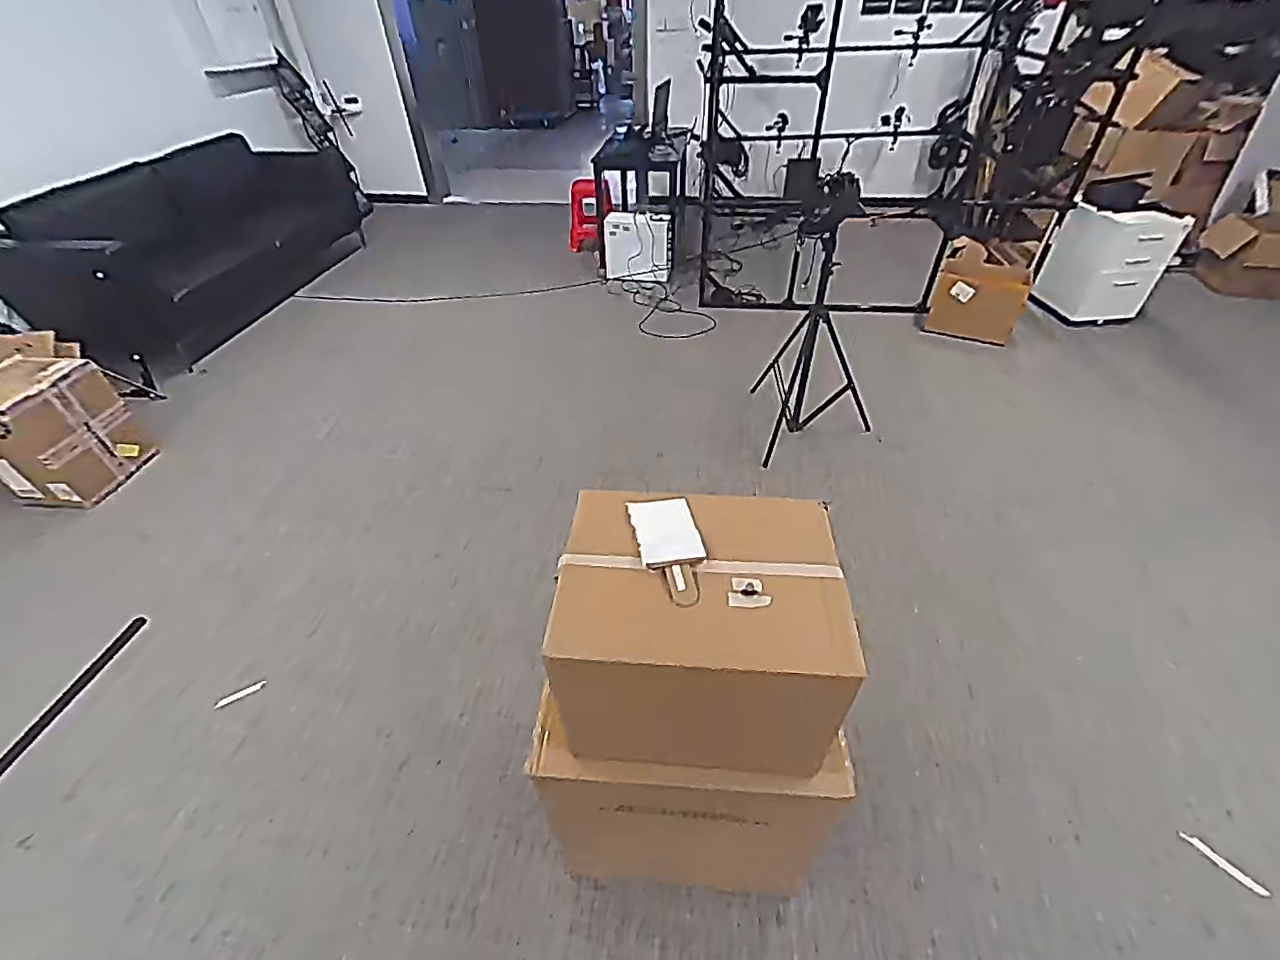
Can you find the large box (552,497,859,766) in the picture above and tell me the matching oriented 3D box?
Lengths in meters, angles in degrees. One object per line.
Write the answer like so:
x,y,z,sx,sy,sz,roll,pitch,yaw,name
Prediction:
0.091,0.247,0.900,0.408,0.320,0.320,3,42,4,large box
